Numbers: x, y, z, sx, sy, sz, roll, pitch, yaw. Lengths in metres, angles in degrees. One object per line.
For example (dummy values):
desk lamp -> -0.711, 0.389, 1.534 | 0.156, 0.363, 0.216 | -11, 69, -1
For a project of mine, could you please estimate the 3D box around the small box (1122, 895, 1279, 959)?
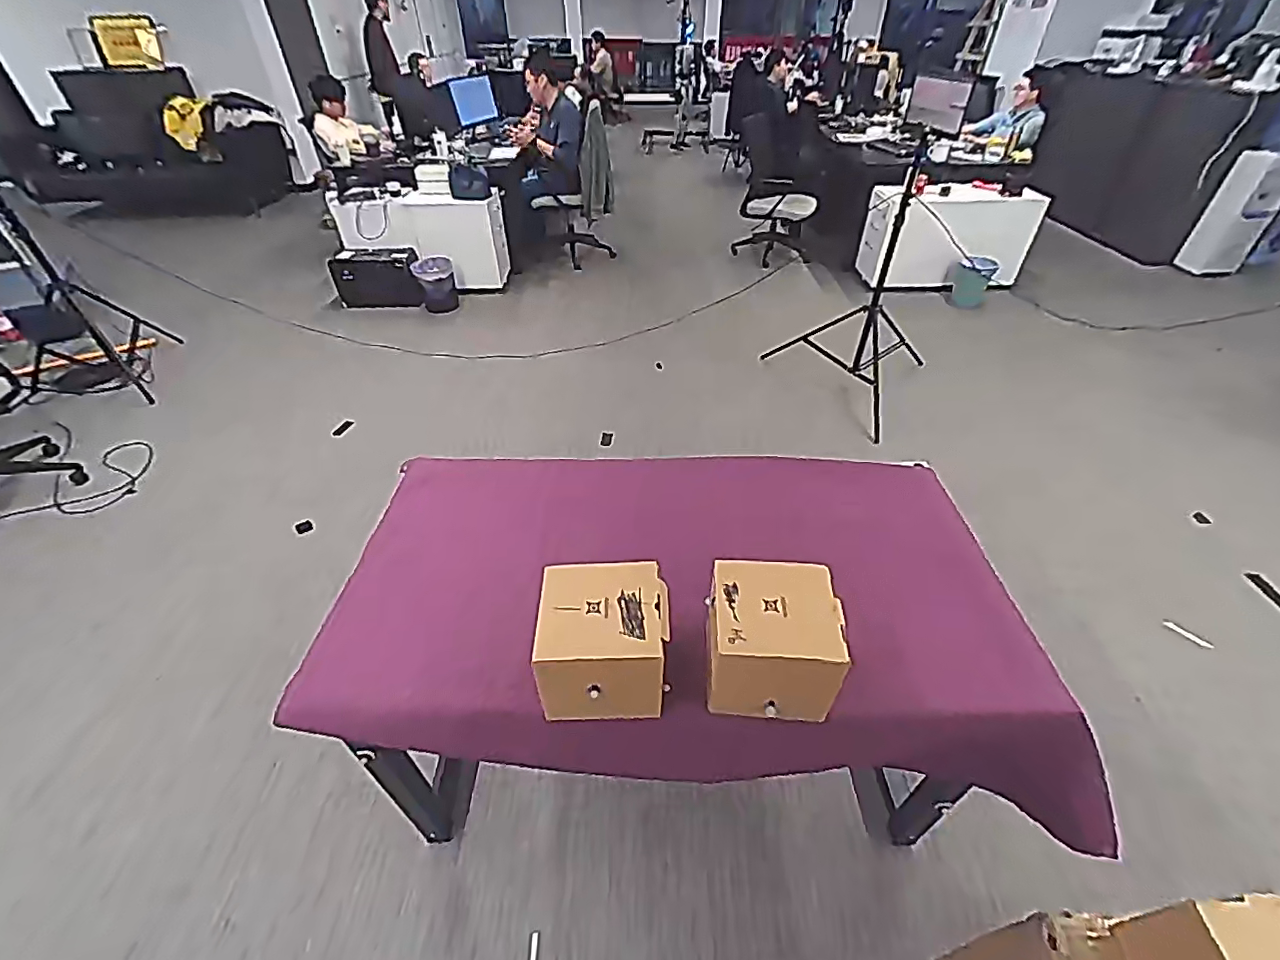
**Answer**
small box -> 0.692, 0.579, 0.585 | 0.168, 0.176, 0.179 | -1, 42, 3

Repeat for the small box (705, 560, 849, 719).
small box -> 0.195, 0.245, 0.825 | 0.179, 0.176, 0.168 | 3, 40, 3

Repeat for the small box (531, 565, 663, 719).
small box -> -0.056, 0.247, 0.823 | 0.179, 0.176, 0.168 | -2, 40, 0
